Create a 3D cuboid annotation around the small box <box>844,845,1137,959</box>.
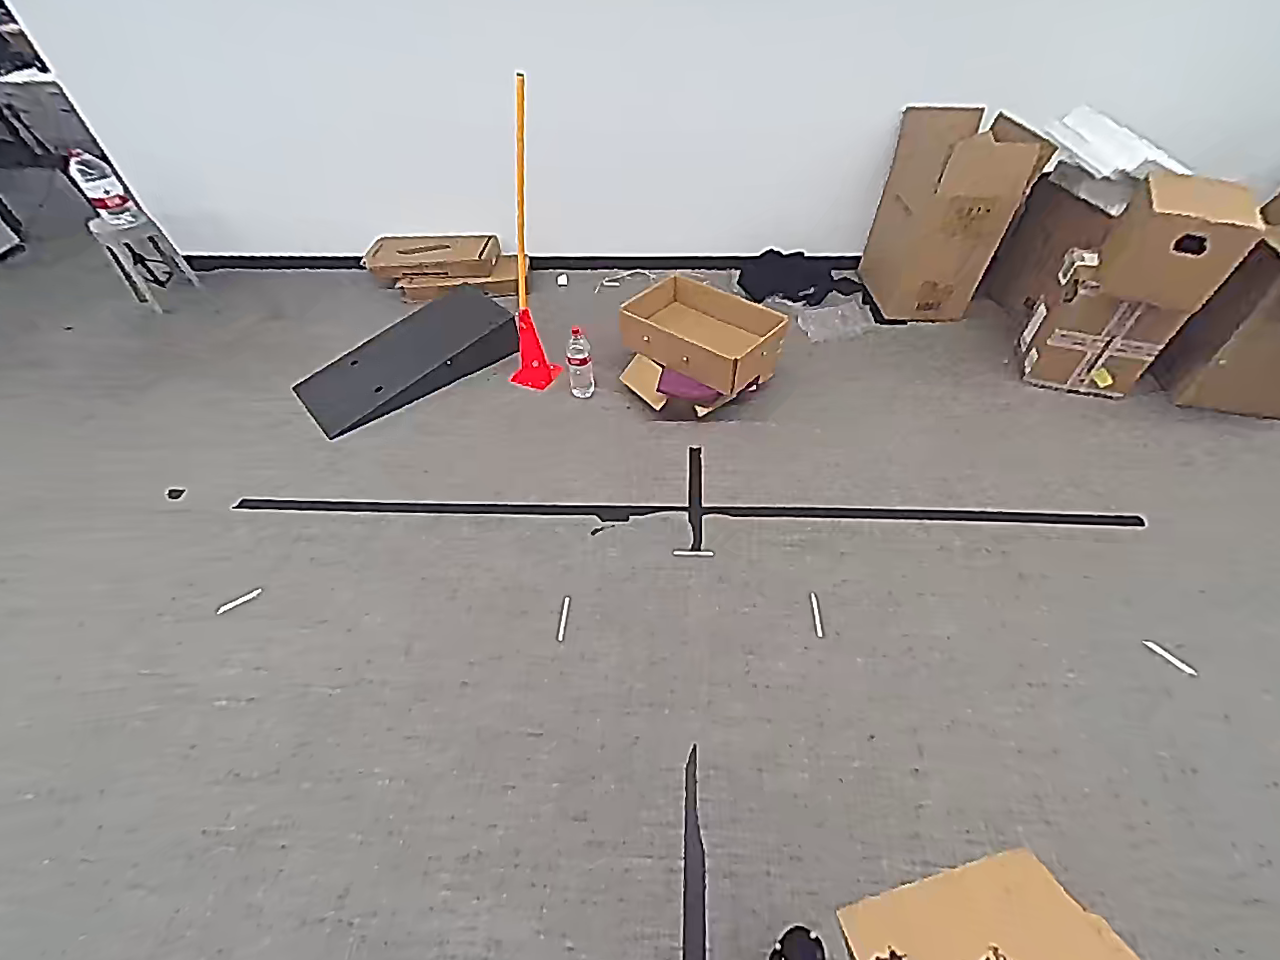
[{"bbox_3d":[0.284,0.429,0.401,0.179,0.176,0.168,-18,6,0],"label":"small box"}]
